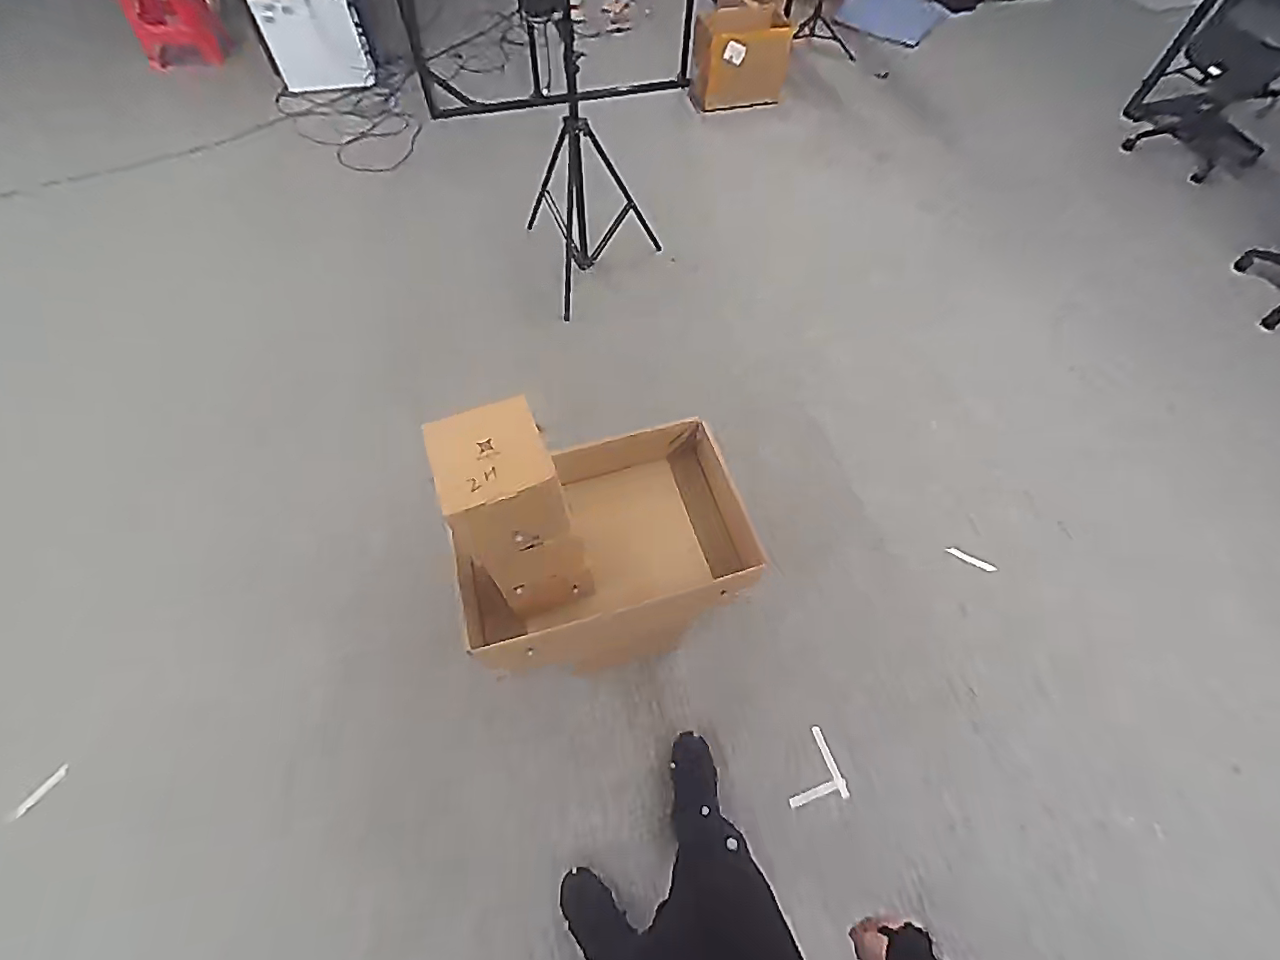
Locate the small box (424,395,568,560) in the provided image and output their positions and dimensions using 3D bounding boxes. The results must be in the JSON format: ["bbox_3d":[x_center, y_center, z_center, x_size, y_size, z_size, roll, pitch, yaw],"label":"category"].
[{"bbox_3d":[-0.225,-0.001,0.866,0.168,0.176,0.179,-20,60,-10],"label":"small box"}]

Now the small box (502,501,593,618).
[{"bbox_3d":[-0.204,0.171,1.147,0.179,0.176,0.168,-19,61,-10],"label":"small box"}]

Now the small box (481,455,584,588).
[{"bbox_3d":[-0.210,0.086,1.007,0.168,0.176,0.179,-18,60,-10],"label":"small box"}]
